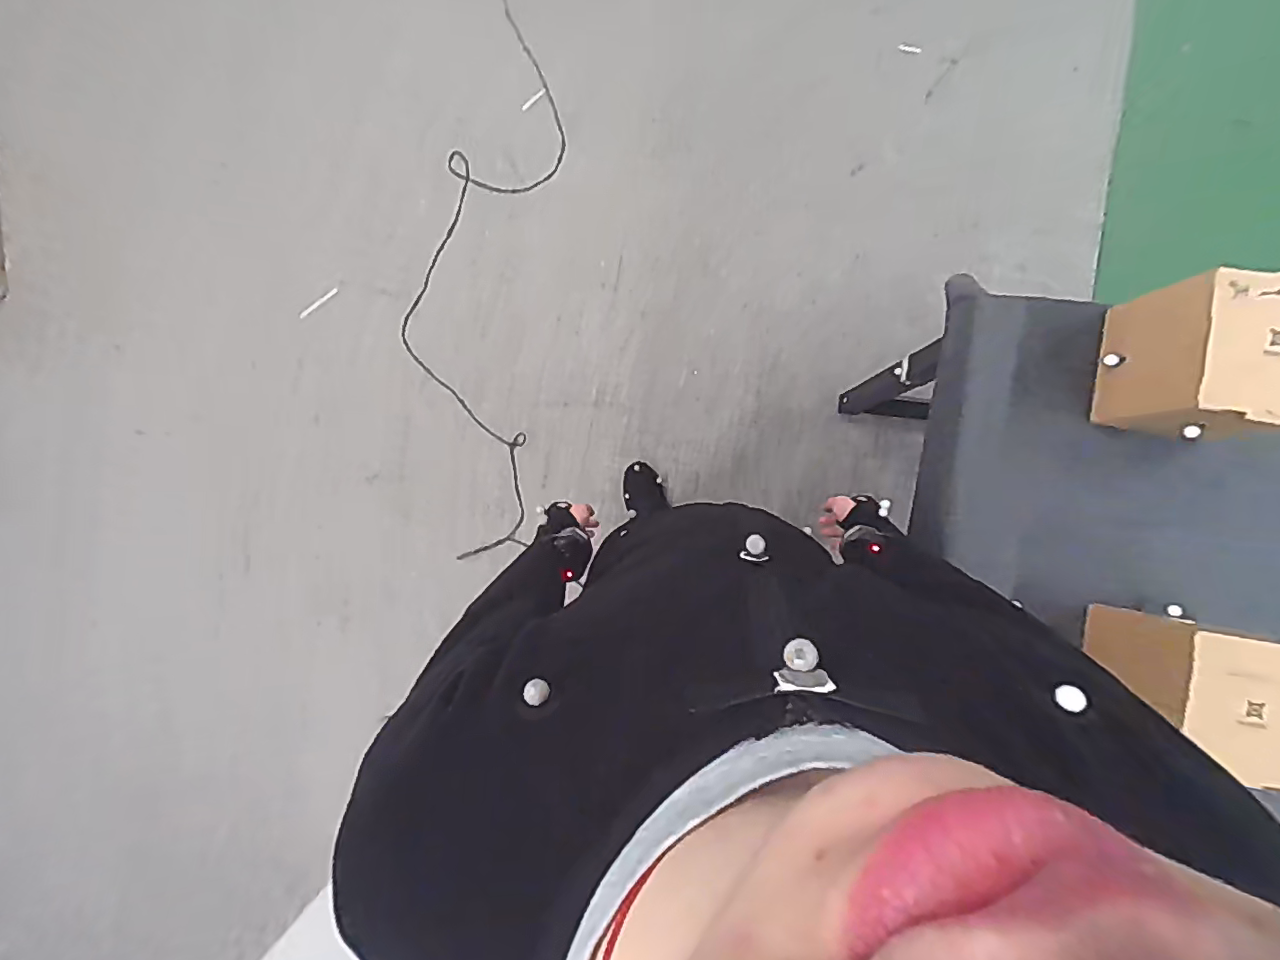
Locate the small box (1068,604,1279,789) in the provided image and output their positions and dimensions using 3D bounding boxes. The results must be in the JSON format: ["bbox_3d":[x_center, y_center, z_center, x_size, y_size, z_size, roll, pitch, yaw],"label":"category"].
[{"bbox_3d":[0.729,0.281,0.733,0.168,0.176,0.179,9,87,0],"label":"small box"}]

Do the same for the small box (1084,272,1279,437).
[{"bbox_3d":[0.760,-0.158,0.740,0.168,0.176,0.179,8,90,0],"label":"small box"}]
